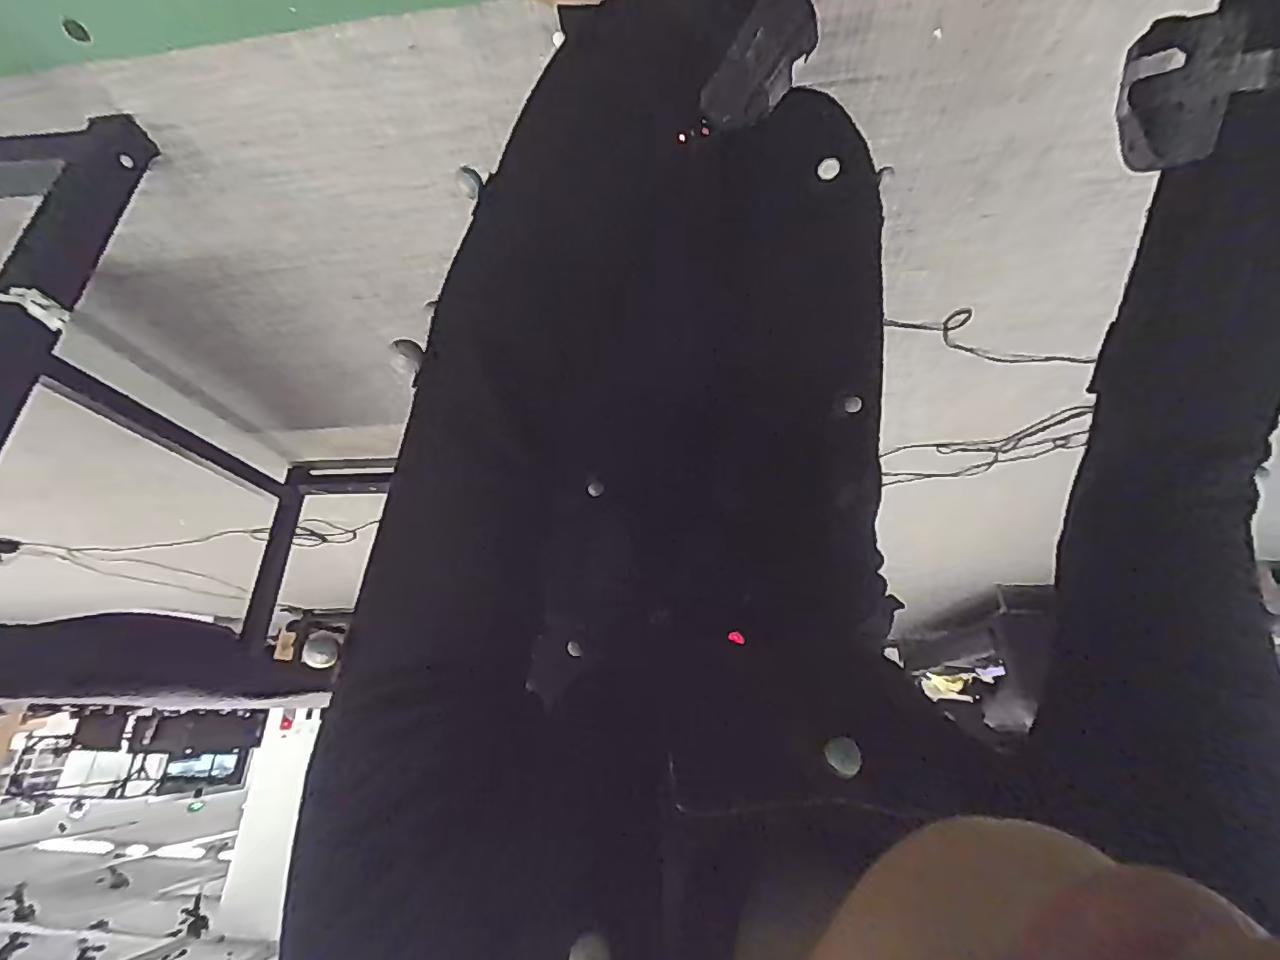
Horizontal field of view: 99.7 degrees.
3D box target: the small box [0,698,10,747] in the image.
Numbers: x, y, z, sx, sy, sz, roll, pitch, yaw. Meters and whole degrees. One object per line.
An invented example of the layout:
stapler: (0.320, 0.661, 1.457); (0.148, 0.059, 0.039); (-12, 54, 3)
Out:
small box: (-0.939, 0.347, 0.649); (0.179, 0.176, 0.168); (-2, 157, 9)
